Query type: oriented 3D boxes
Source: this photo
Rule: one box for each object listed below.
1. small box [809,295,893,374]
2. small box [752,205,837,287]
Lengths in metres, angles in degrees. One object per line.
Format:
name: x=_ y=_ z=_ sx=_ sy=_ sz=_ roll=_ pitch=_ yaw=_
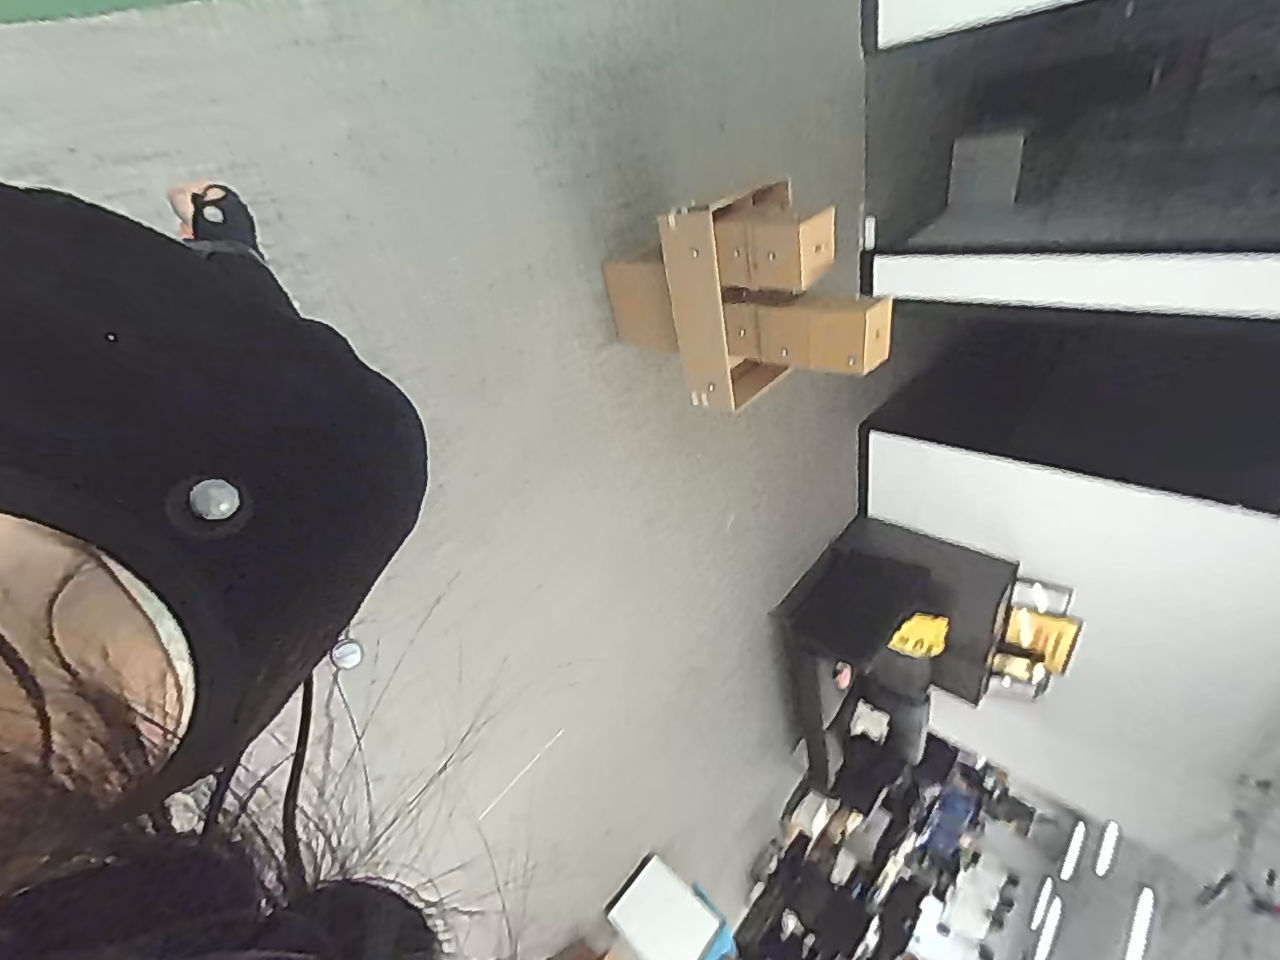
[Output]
small box: x=0.592 y=-0.417 z=1.529 sx=0.168 sy=0.176 sz=0.179 roll=-33 pitch=127 yaw=-34
small box: x=0.420 y=-0.643 z=1.486 sx=0.179 sy=0.176 sz=0.168 roll=-37 pitch=132 yaw=-30
